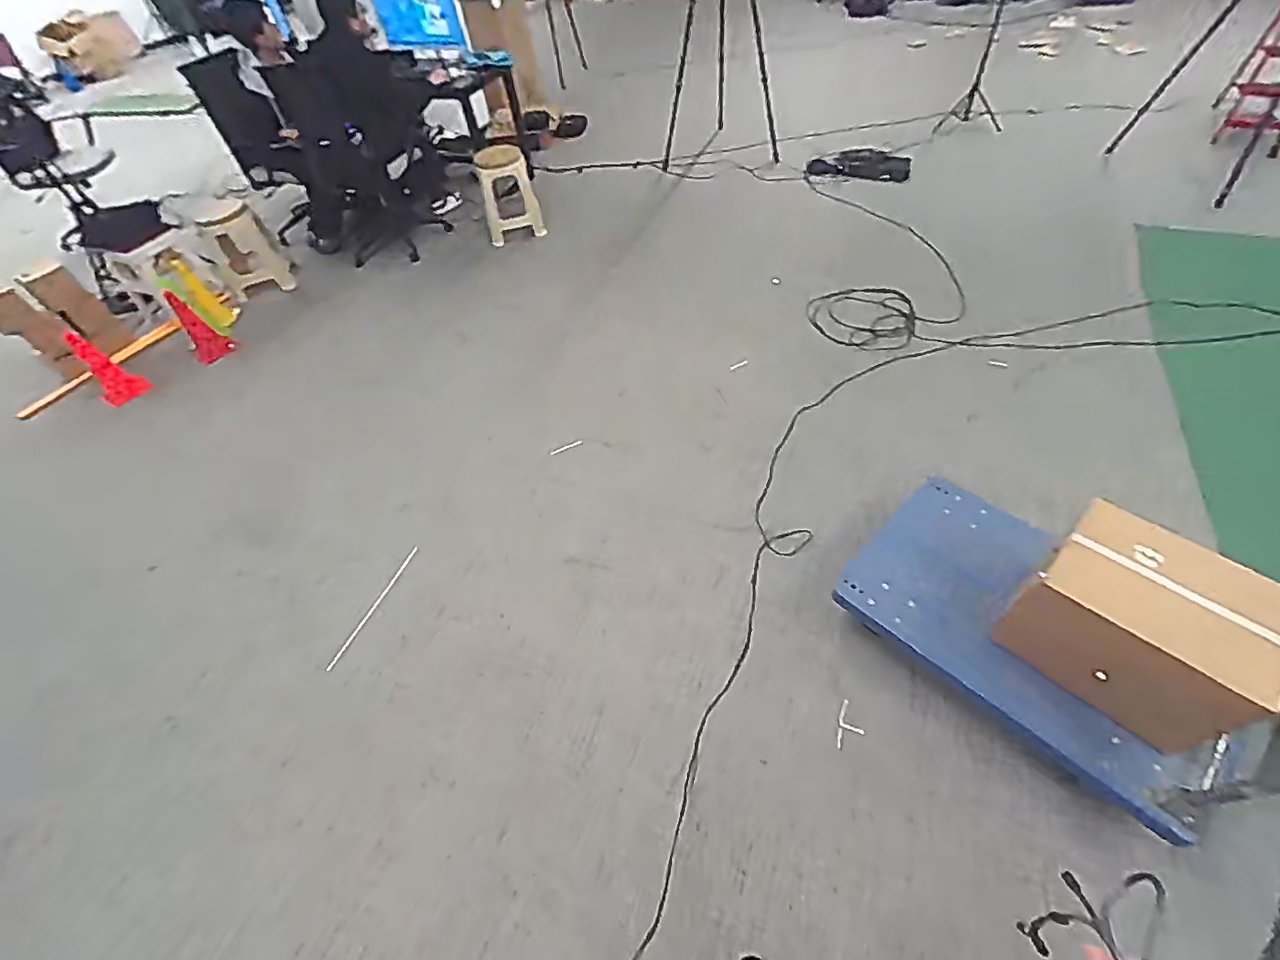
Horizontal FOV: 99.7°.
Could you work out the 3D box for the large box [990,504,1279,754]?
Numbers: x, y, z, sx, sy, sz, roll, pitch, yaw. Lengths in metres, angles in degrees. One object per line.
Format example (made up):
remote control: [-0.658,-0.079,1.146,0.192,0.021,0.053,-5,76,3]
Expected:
large box: [1.131,0.336,1.244,0.320,0.320,0.408,-39,56,-23]
